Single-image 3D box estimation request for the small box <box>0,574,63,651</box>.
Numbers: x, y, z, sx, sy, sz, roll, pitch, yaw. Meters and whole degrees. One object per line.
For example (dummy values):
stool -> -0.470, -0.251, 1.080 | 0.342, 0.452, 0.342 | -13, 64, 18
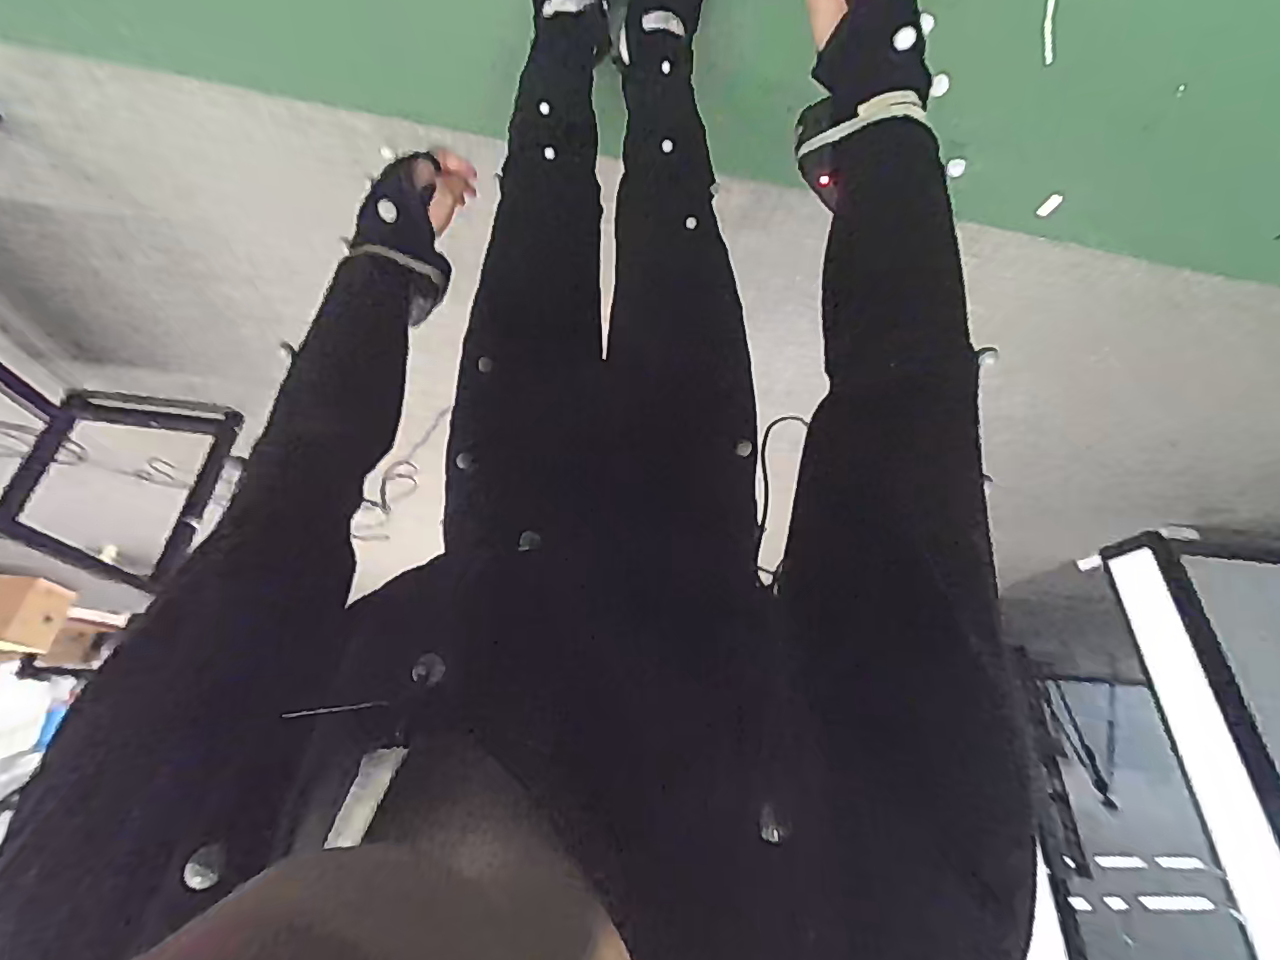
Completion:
small box -> -1.655, 0.334, 1.387 | 0.179, 0.176, 0.168 | 11, 152, -13
